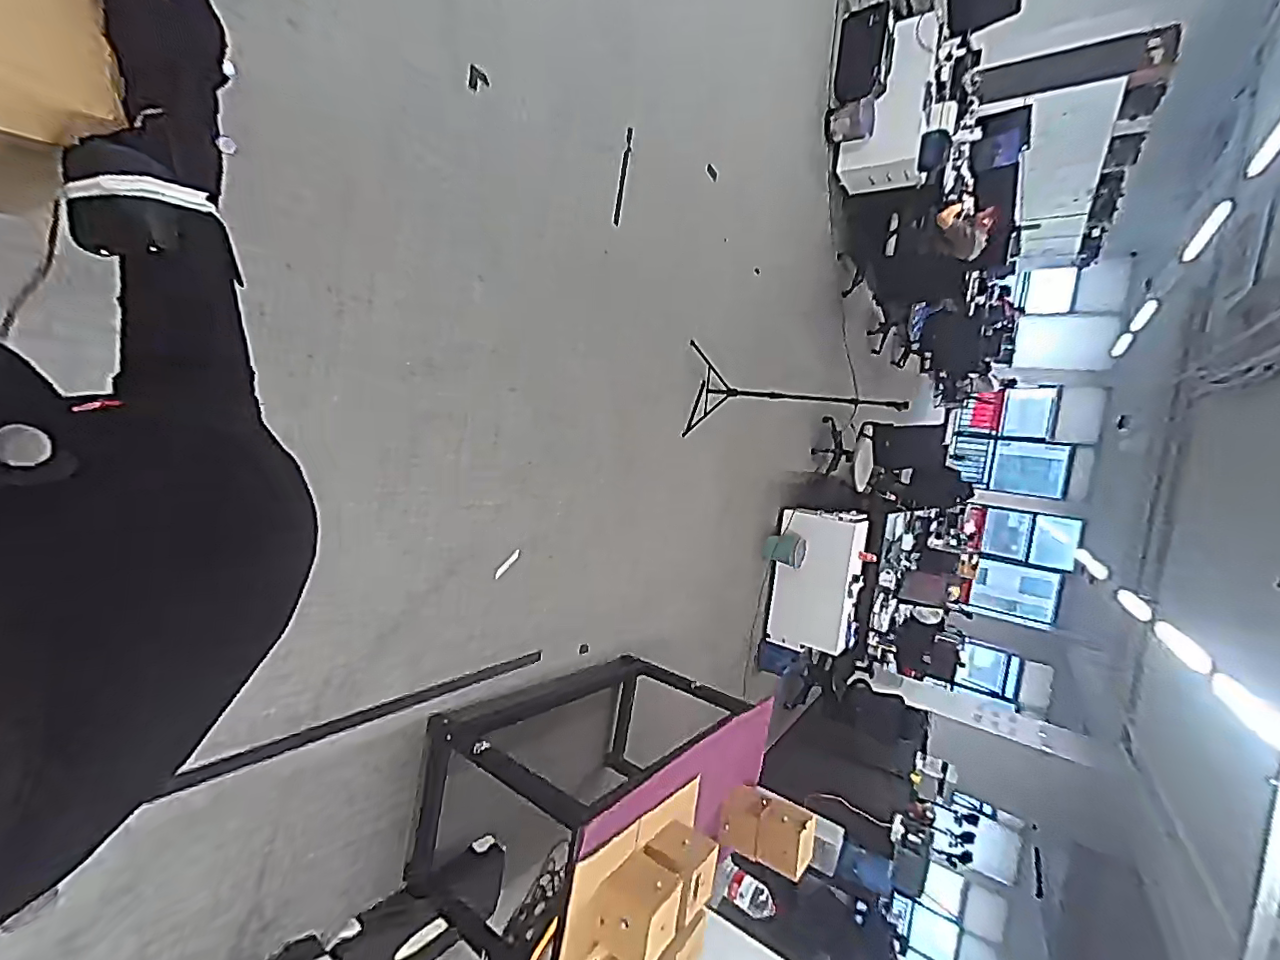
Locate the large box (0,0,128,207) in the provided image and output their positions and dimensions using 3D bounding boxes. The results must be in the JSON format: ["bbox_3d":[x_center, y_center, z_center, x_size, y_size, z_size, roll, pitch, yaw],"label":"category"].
[{"bbox_3d":[-0.593,-0.373,0.273,0.408,0.320,0.320,-13,110,-57],"label":"large box"}]
